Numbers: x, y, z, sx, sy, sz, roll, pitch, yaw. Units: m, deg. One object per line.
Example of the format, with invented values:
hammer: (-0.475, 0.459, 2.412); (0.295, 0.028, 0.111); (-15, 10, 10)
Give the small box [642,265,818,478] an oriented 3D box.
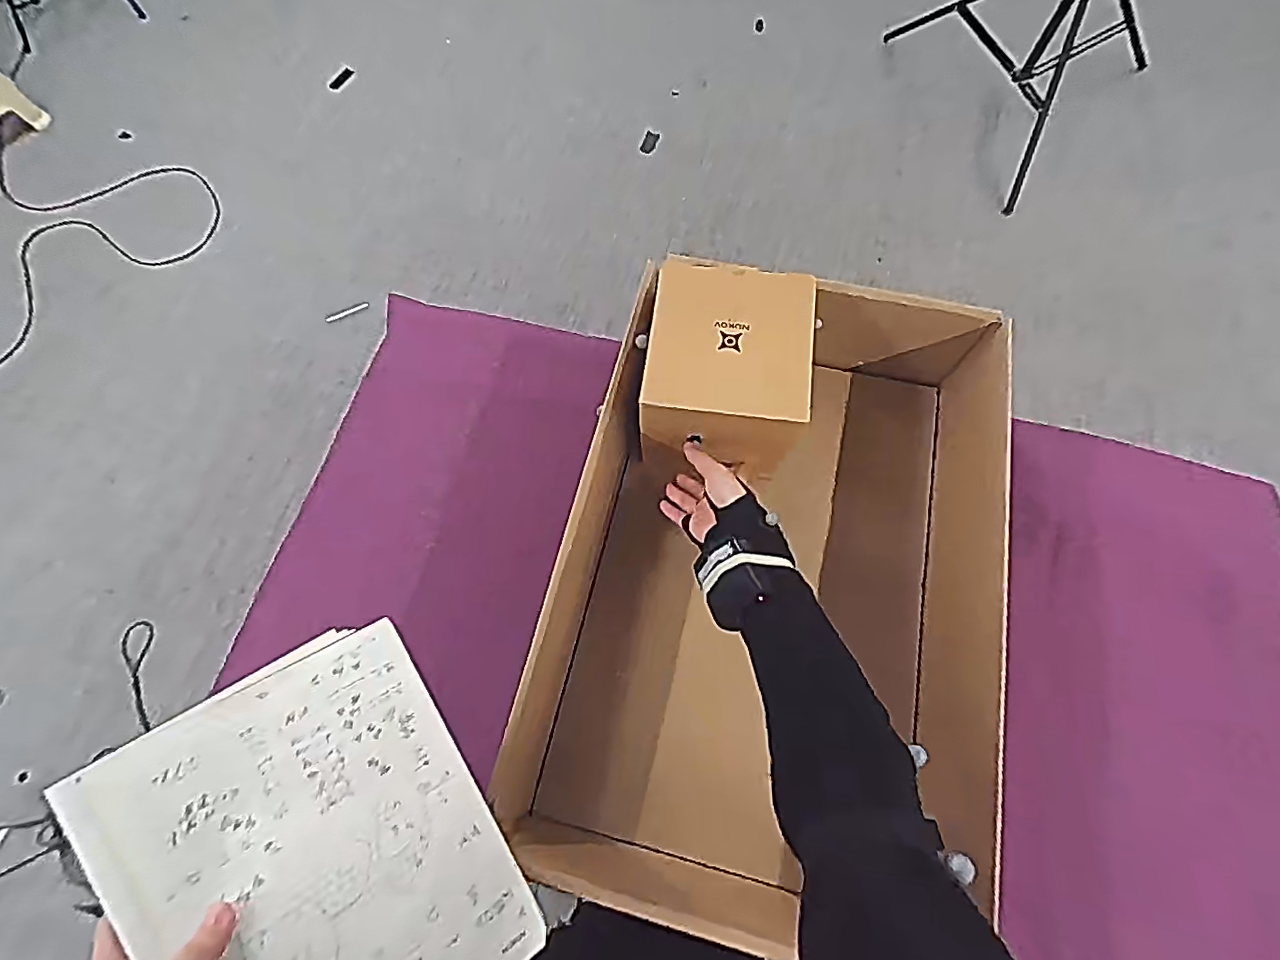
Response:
small box: (0.097, -0.113, 0.618); (0.168, 0.176, 0.179); (7, 71, 4)
